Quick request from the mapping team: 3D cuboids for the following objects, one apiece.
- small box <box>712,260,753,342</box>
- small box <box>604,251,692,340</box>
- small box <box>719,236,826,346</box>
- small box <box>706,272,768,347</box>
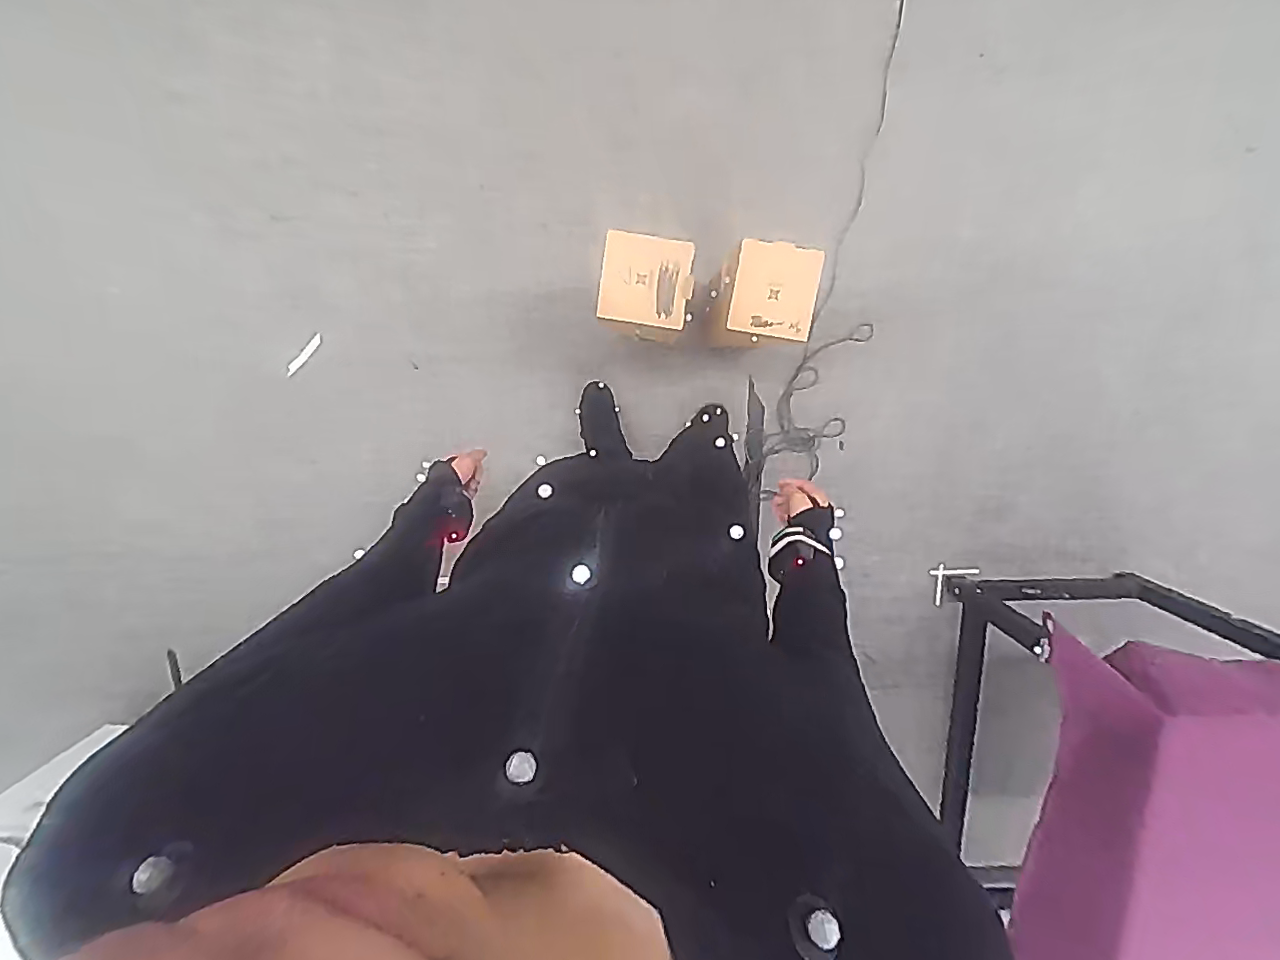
[{"bbox_3d":[0.271,-0.421,1.297,0.179,0.176,0.168,2,101,0],"label":"small box"},{"bbox_3d":[0.017,-0.431,1.291,0.179,0.176,0.168,9,101,-1],"label":"small box"},{"bbox_3d":[0.267,-0.387,1.136,0.168,0.176,0.179,9,100,-1],"label":"small box"},{"bbox_3d":[0.270,-0.454,1.456,0.168,0.176,0.179,1,102,1],"label":"small box"}]
